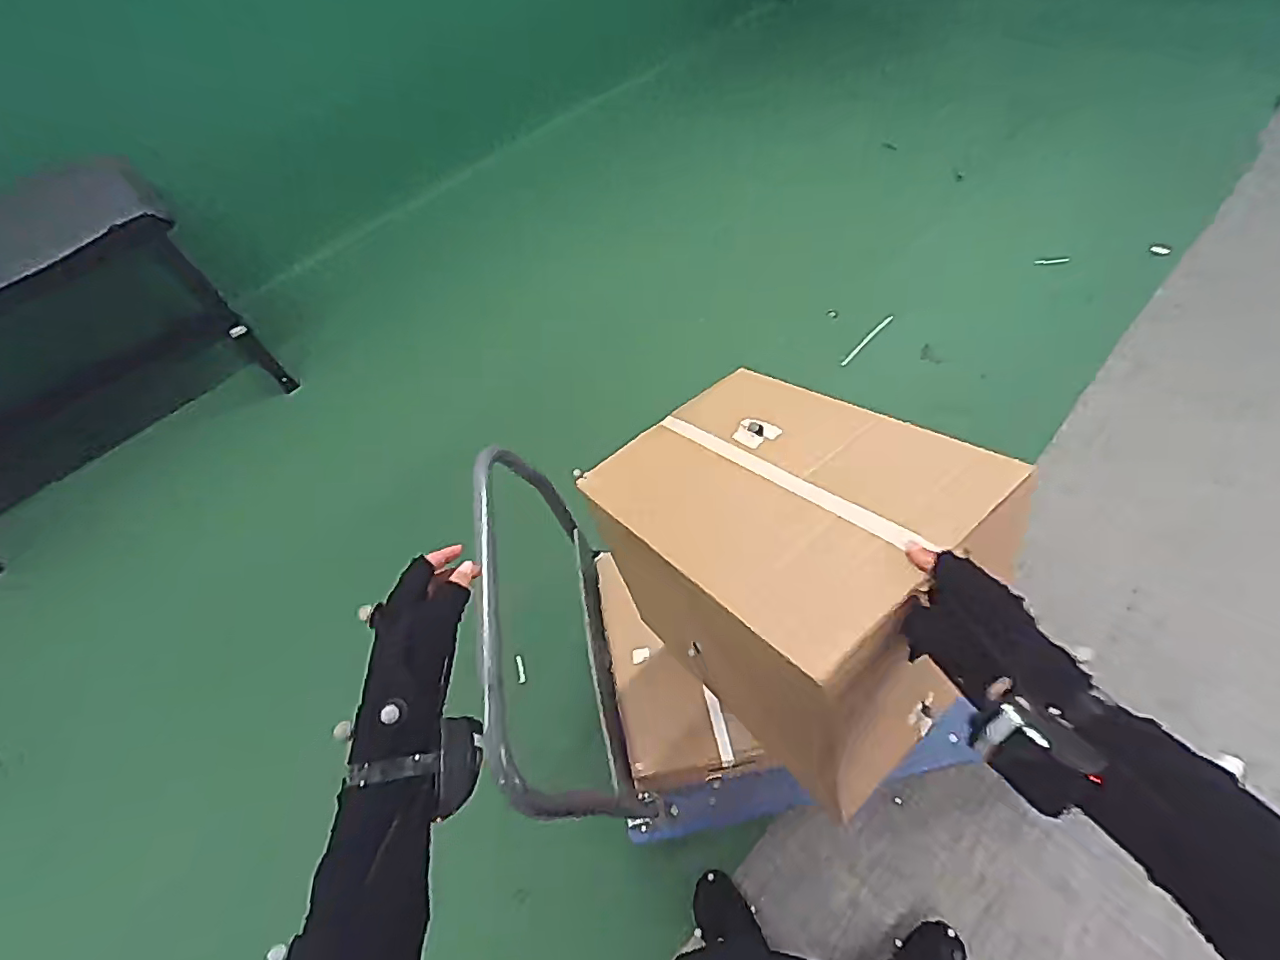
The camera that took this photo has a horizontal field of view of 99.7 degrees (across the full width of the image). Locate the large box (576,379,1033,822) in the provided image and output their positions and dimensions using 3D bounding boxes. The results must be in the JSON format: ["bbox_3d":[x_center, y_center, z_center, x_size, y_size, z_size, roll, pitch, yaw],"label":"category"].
[{"bbox_3d":[0.191,0.118,0.693,0.320,0.320,0.408,-36,39,-19],"label":"large box"}]
